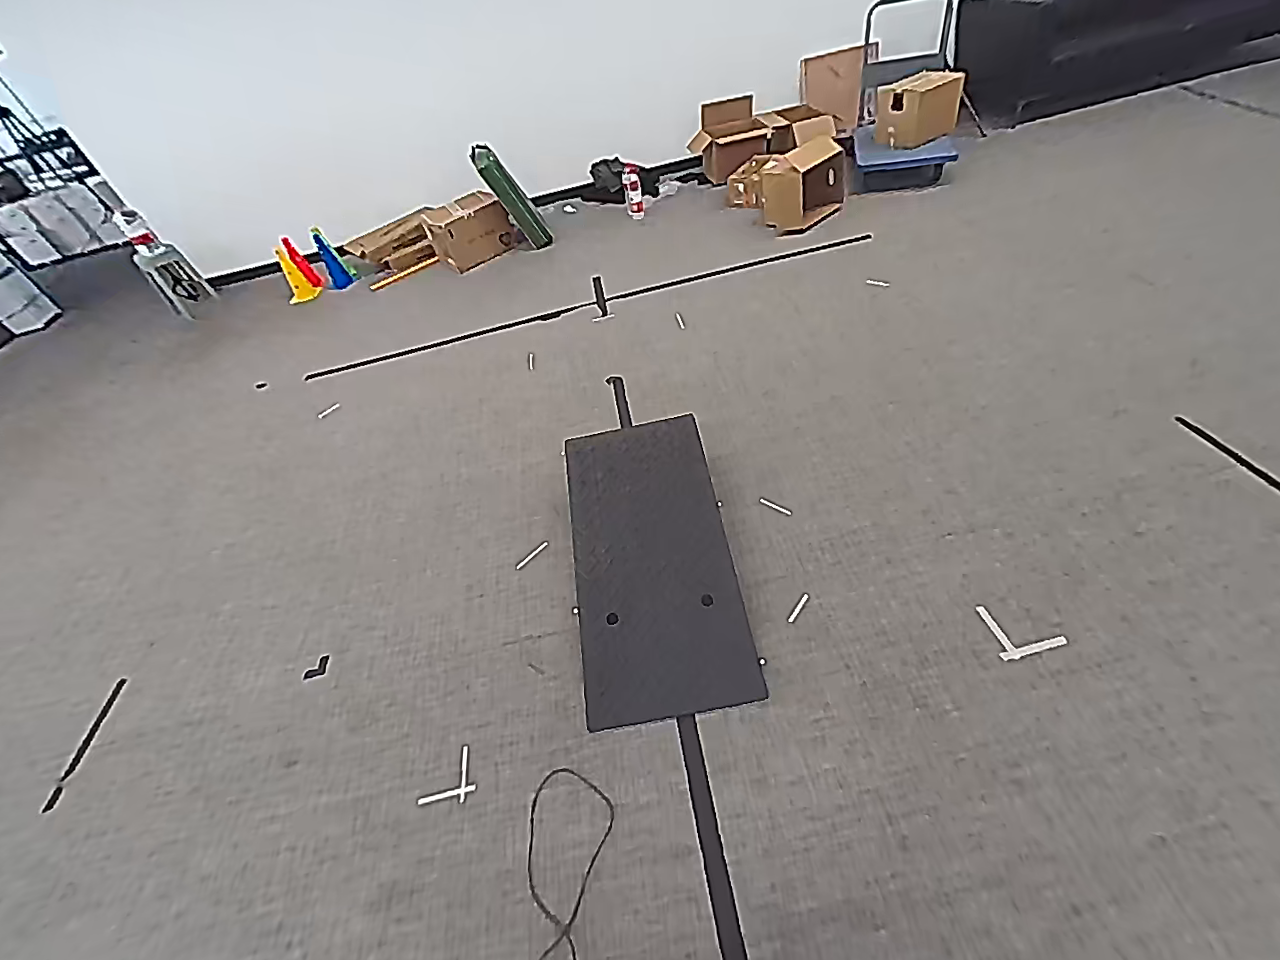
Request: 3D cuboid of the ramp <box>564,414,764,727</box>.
[{"bbox_3d":[0.028,0.212,1.718,0.509,0.206,0.991,-12,45,1],"label":"ramp"}]
